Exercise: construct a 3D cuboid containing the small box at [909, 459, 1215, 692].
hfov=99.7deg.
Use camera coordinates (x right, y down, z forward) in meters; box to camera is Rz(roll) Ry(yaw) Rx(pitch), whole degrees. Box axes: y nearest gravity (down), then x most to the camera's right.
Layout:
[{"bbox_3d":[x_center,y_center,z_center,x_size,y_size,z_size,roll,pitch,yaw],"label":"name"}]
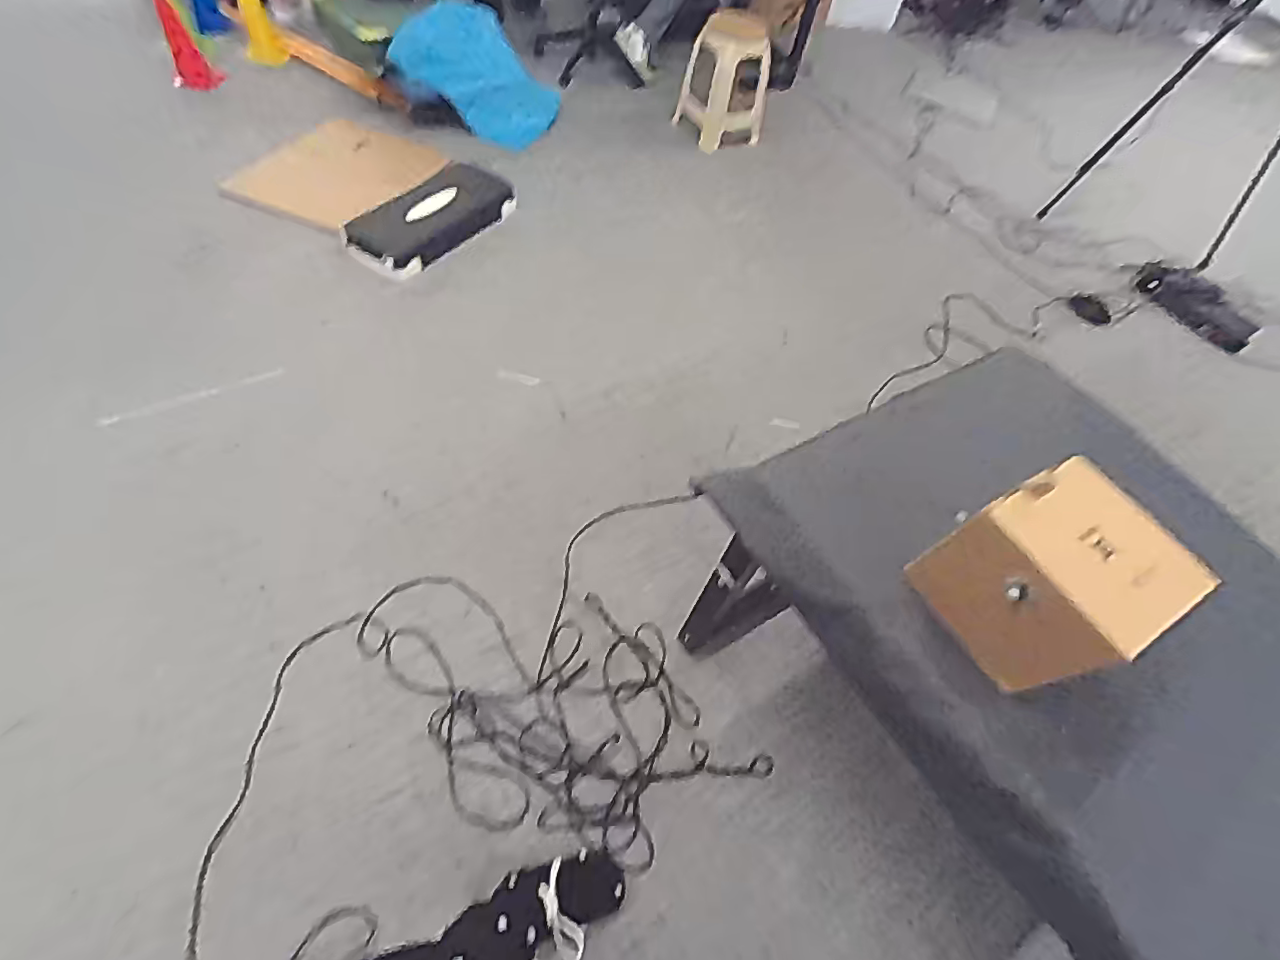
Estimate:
[{"bbox_3d":[0.452,0.111,0.612,0.168,0.176,0.179,-22,64,-21],"label":"small box"}]
